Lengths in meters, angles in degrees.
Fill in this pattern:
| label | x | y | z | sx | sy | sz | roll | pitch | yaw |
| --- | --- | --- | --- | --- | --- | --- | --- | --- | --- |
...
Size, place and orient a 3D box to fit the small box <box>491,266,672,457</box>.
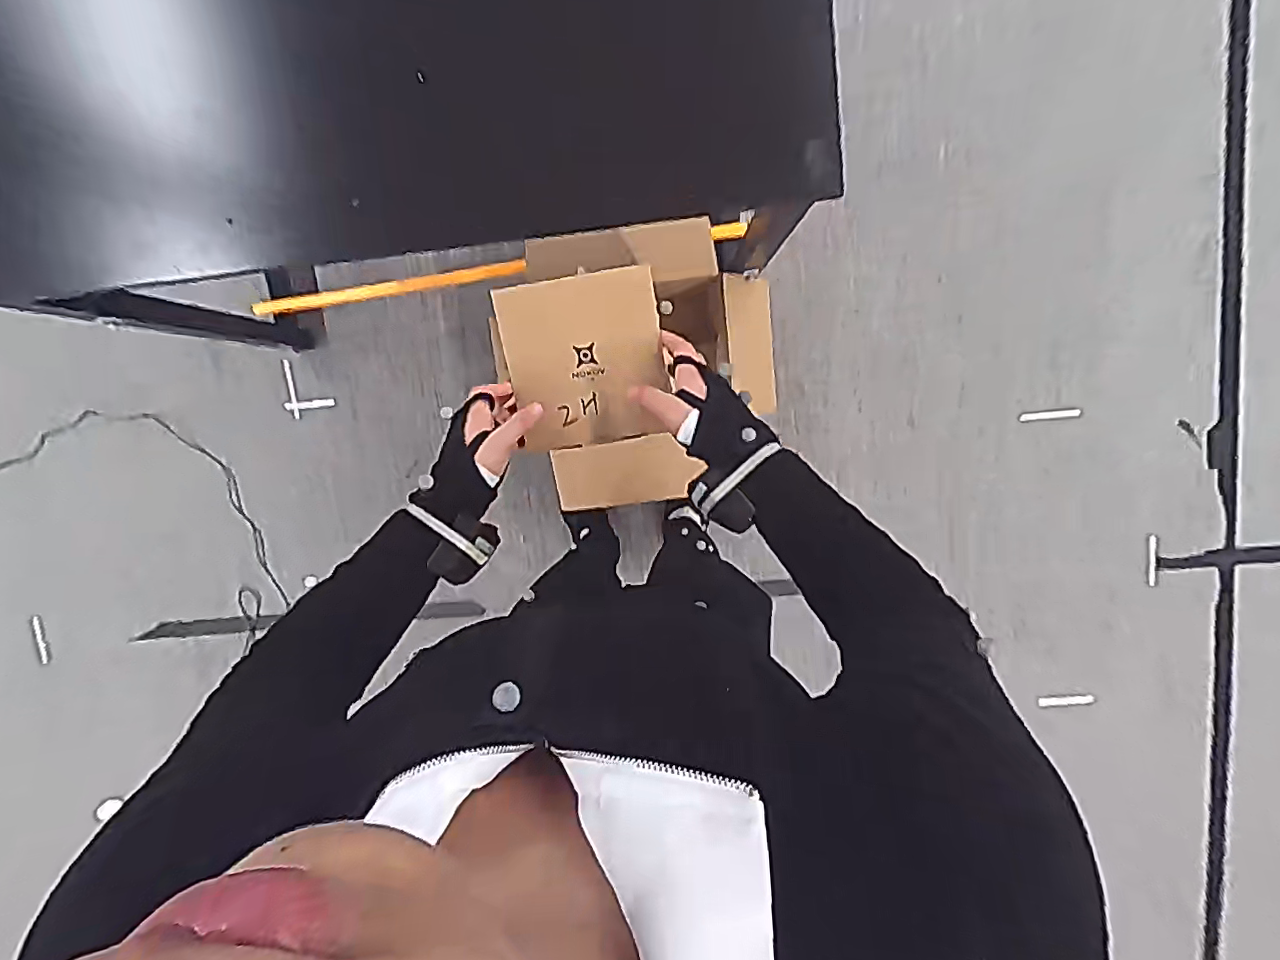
| label | x | y | z | sx | sy | sz | roll | pitch | yaw |
| --- | --- | --- | --- | --- | --- | --- | --- | --- | --- |
| small box | -0.058 | -0.140 | 0.636 | 0.168 | 0.176 | 0.179 | -9 | 107 | 3 |
